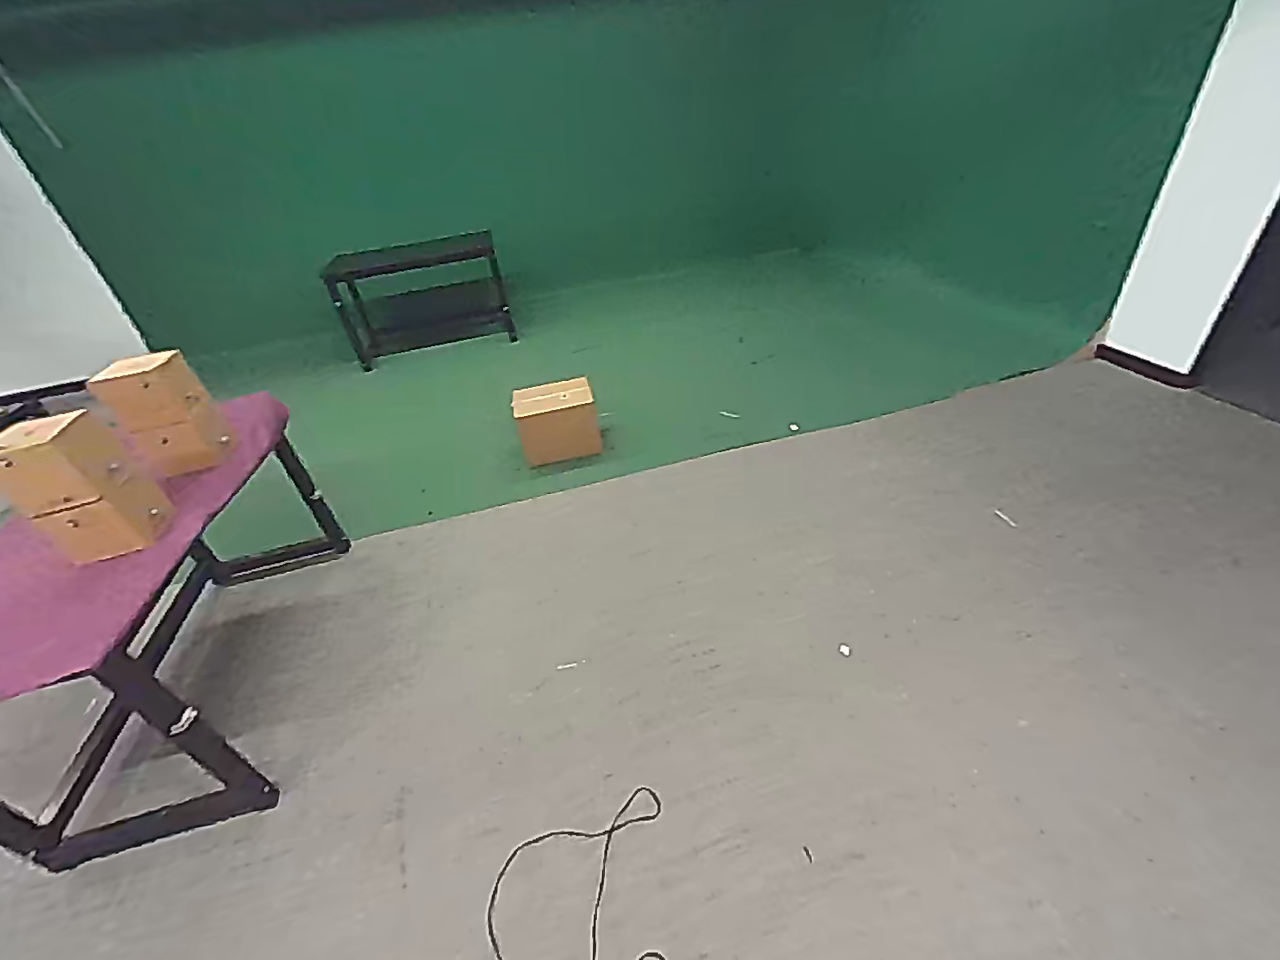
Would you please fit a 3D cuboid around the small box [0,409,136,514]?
[{"bbox_3d":[-1.383,-0.045,1.303,0.168,0.176,0.179,-16,36,-7],"label":"small box"}]

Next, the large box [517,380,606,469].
[{"bbox_3d":[-0.418,-0.296,2.872,0.408,0.320,0.320,-12,36,-6],"label":"large box"}]

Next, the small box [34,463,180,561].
[{"bbox_3d":[-1.363,0.086,1.399,0.179,0.176,0.168,-15,36,-7],"label":"small box"}]

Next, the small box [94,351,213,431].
[{"bbox_3d":[-1.450,-0.265,1.627,0.179,0.176,0.168,-14,36,-7],"label":"small box"}]

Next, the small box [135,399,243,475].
[{"bbox_3d":[-1.425,-0.135,1.721,0.179,0.176,0.168,-13,36,-7],"label":"small box"}]
